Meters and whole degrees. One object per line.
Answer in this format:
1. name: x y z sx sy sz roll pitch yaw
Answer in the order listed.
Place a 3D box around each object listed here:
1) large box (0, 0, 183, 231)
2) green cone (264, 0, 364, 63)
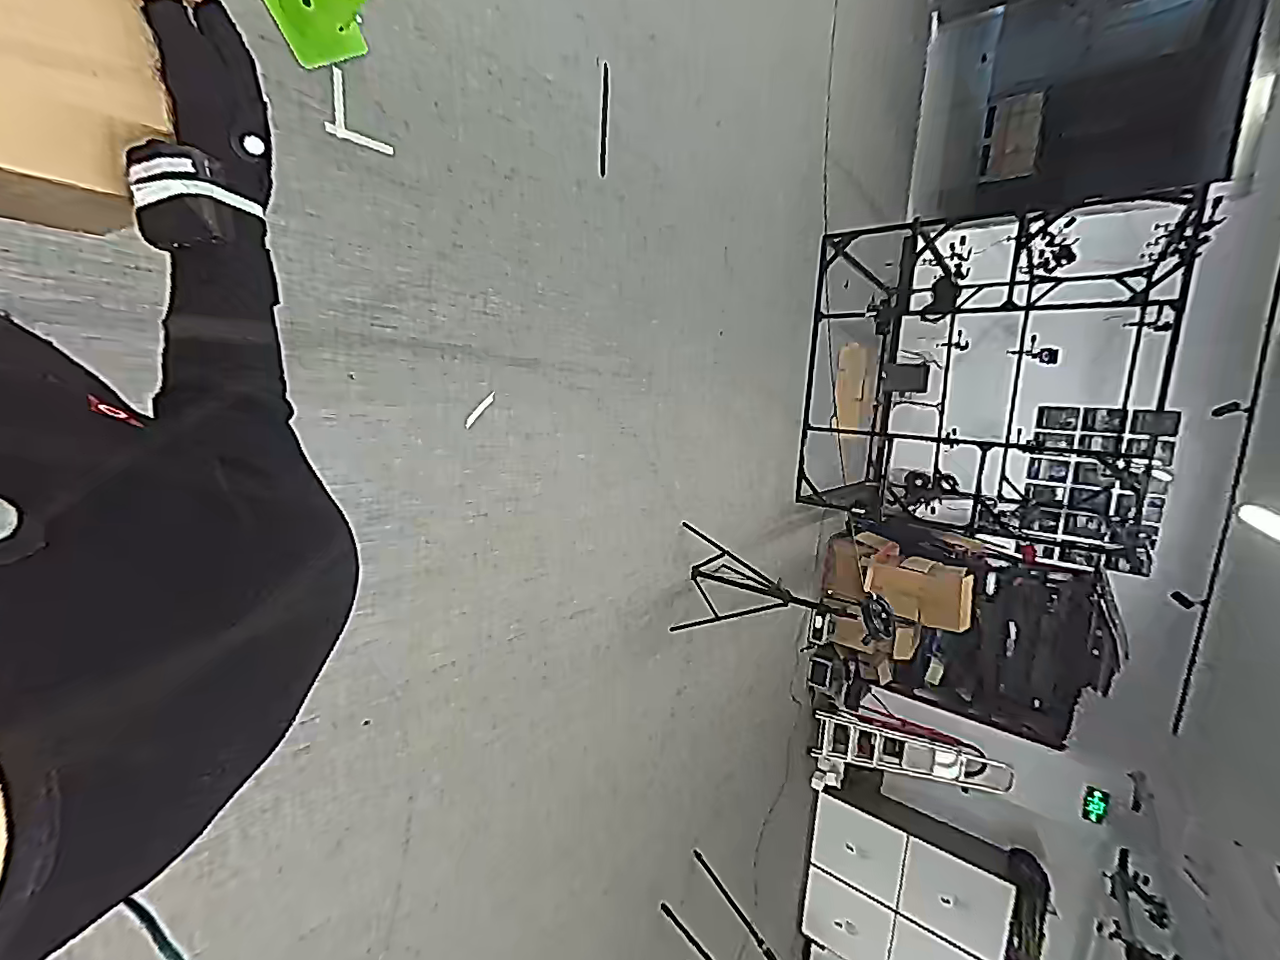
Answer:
1. large box: -0.587 -0.374 0.329 0.408 0.320 0.320 -8 109 -53
2. green cone: -0.638 -1.088 1.168 0.202 0.368 0.200 -53 137 -34
